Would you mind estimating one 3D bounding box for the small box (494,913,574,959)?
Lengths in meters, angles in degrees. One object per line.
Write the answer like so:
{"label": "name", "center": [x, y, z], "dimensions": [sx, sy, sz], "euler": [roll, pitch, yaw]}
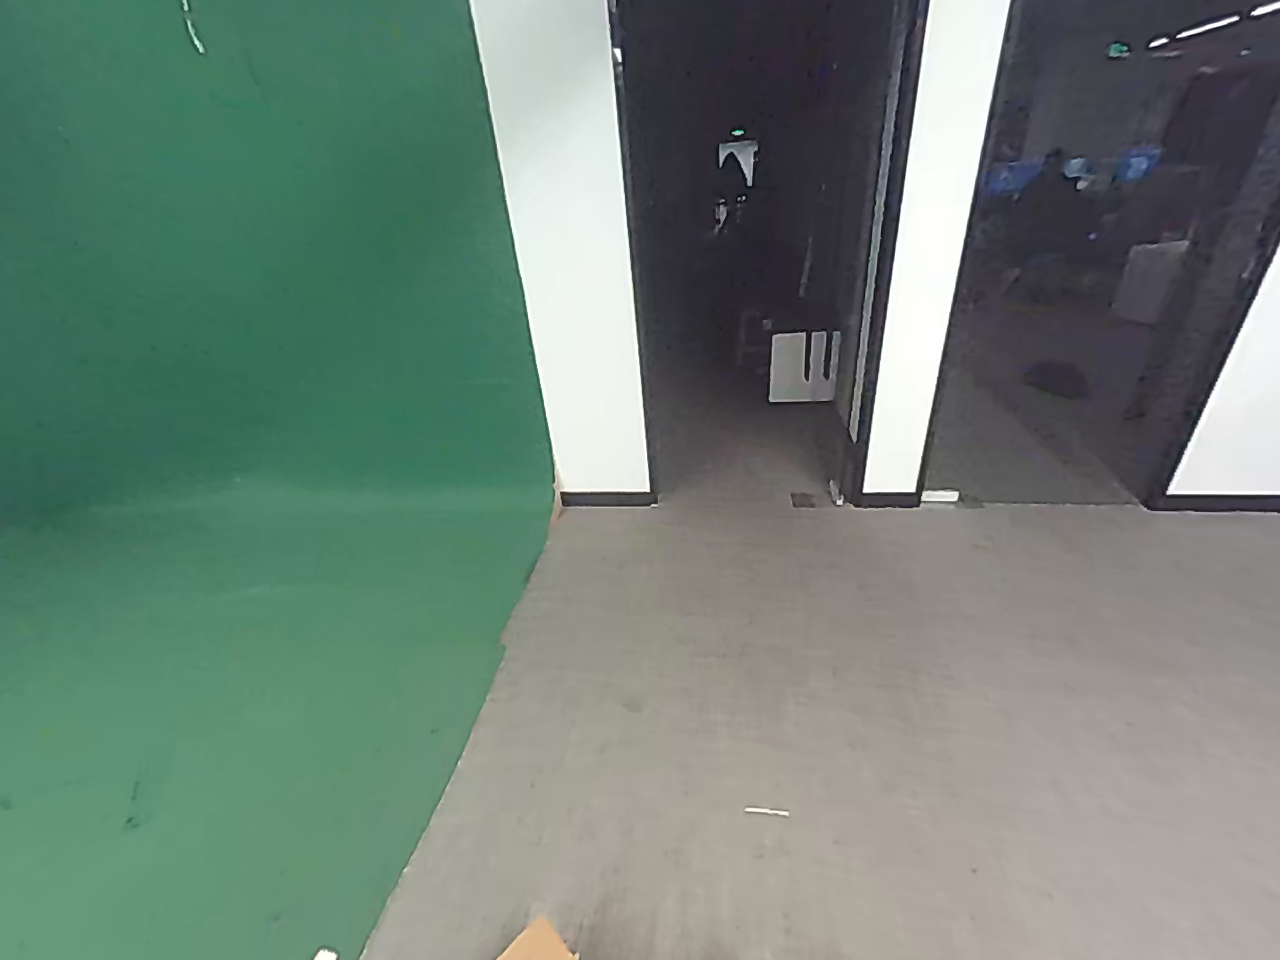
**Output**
{"label": "small box", "center": [-0.188, 0.981, 1.006], "dimensions": [0.168, 0.176, 0.179], "euler": [-28, 36, -37]}
